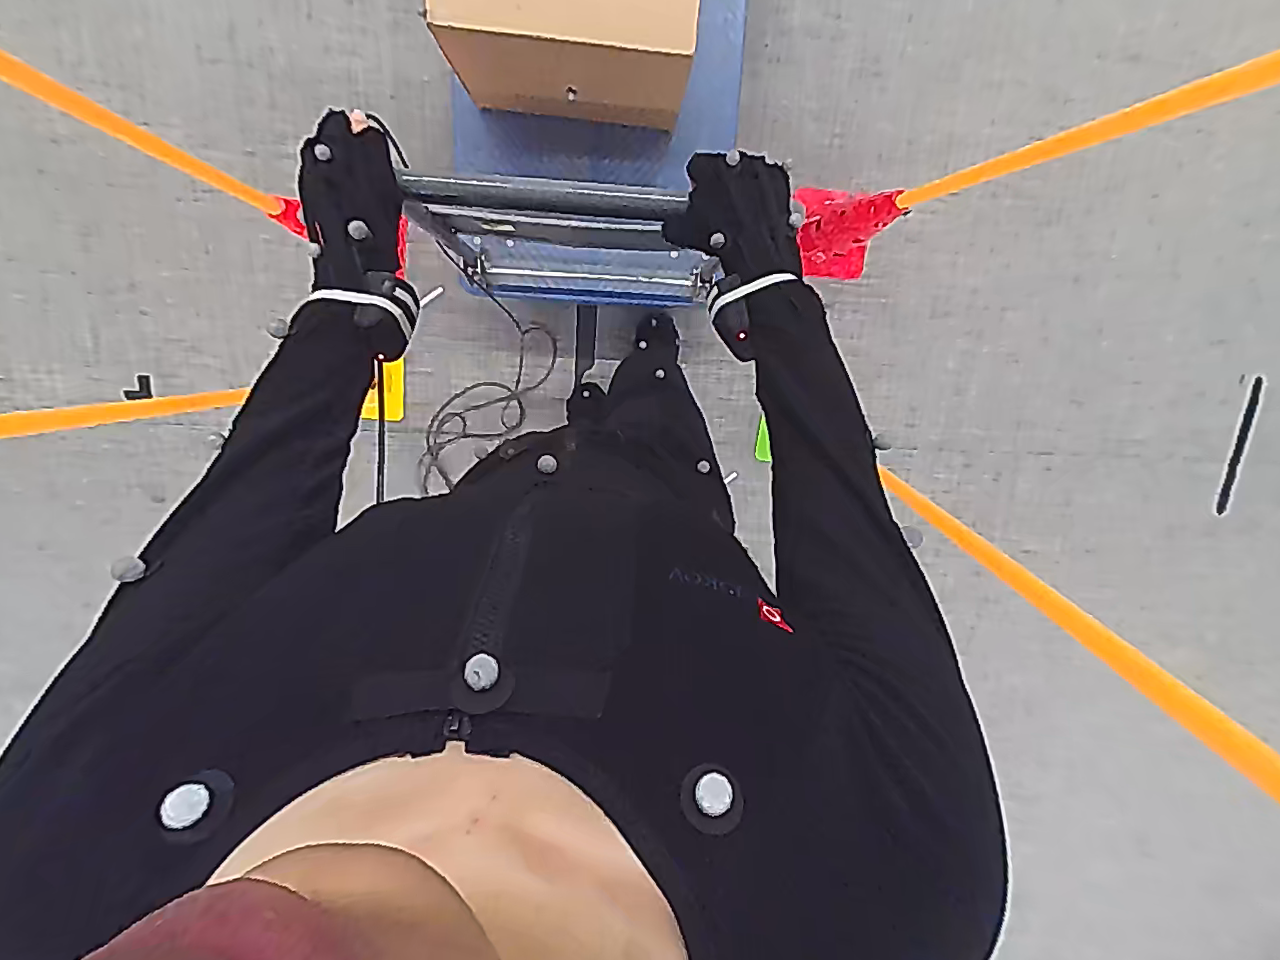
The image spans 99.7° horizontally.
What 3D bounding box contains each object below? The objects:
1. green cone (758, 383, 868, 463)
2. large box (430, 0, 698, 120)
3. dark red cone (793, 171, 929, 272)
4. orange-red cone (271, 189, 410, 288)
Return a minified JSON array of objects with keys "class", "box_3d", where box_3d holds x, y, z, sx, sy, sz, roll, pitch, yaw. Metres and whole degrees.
[{"class":"green cone","box_3d":[0.434,-0.107,1.281,0.202,0.368,0.200,6,104,-5]},{"class":"large box","box_3d":[-0.107,-0.853,0.921,0.408,0.320,0.320,4,105,-3]},{"class":"dark red cone","box_3d":[0.481,-0.571,1.145,0.201,0.394,0.202,2,105,-4]},{"class":"orange-red cone","box_3d":[-0.653,-0.540,1.136,0.198,0.360,0.199,10,102,-5]}]
